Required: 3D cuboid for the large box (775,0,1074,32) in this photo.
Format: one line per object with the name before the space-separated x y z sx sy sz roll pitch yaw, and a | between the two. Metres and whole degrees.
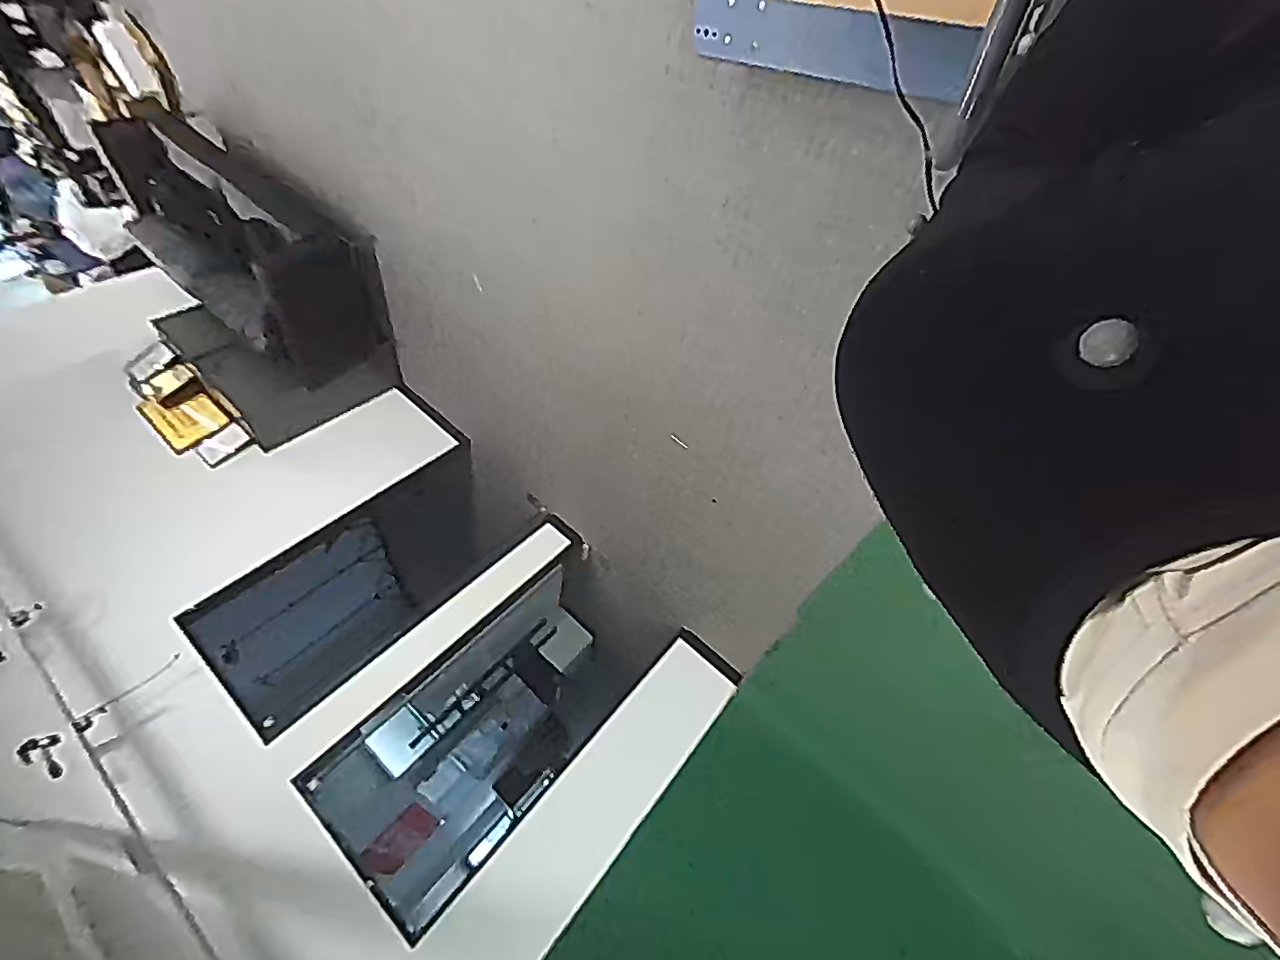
large box | 0.483 -0.911 0.815 0.408 0.320 0.320 33 143 25
